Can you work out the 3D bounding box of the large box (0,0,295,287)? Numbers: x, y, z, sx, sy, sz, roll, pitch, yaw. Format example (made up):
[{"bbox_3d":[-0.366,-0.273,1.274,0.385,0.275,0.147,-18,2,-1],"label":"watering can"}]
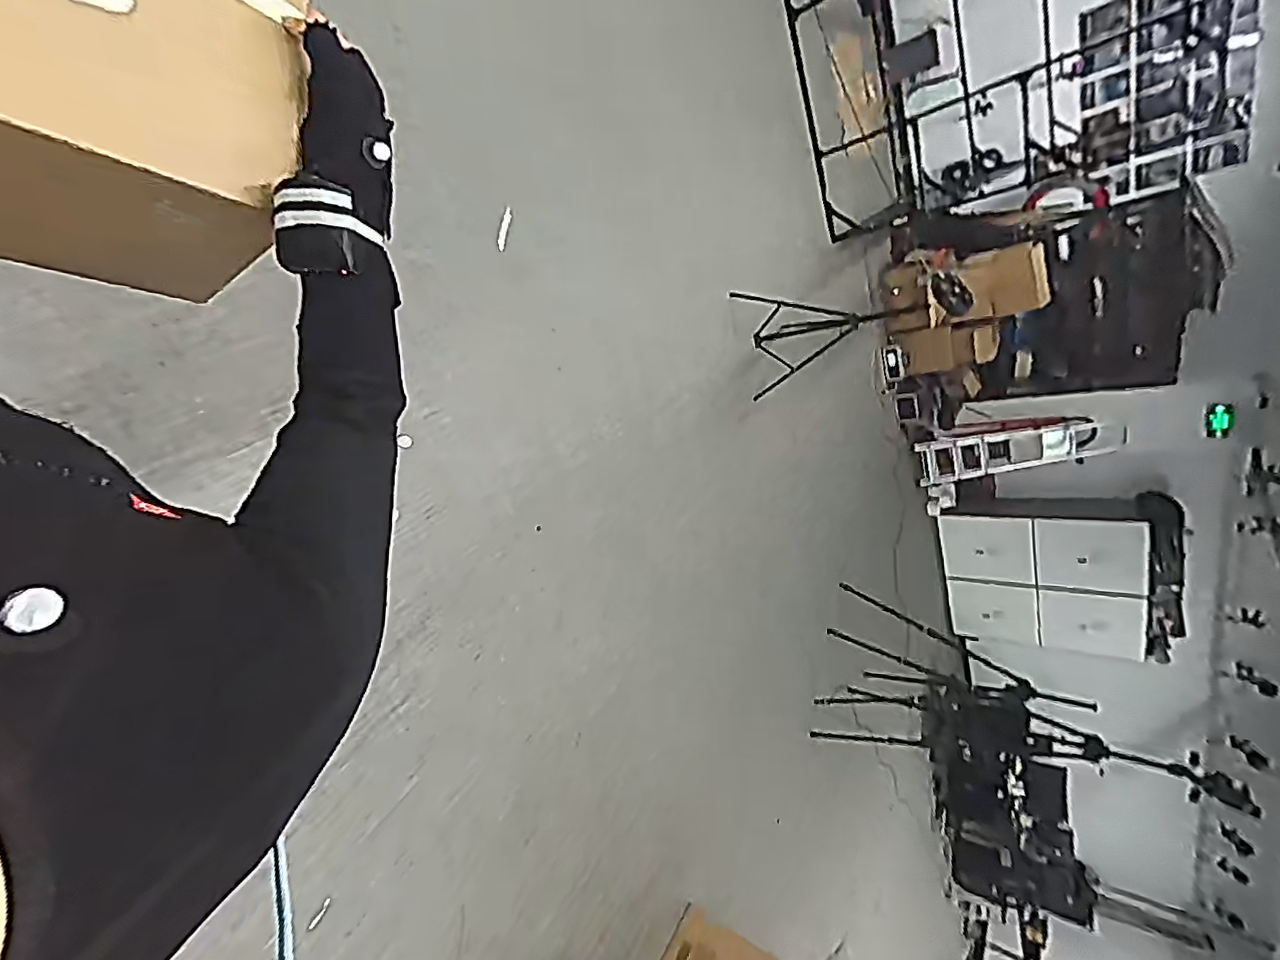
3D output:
[{"bbox_3d":[-0.529,-0.377,0.389,0.408,0.320,0.320,2,89,-51],"label":"large box"}]
